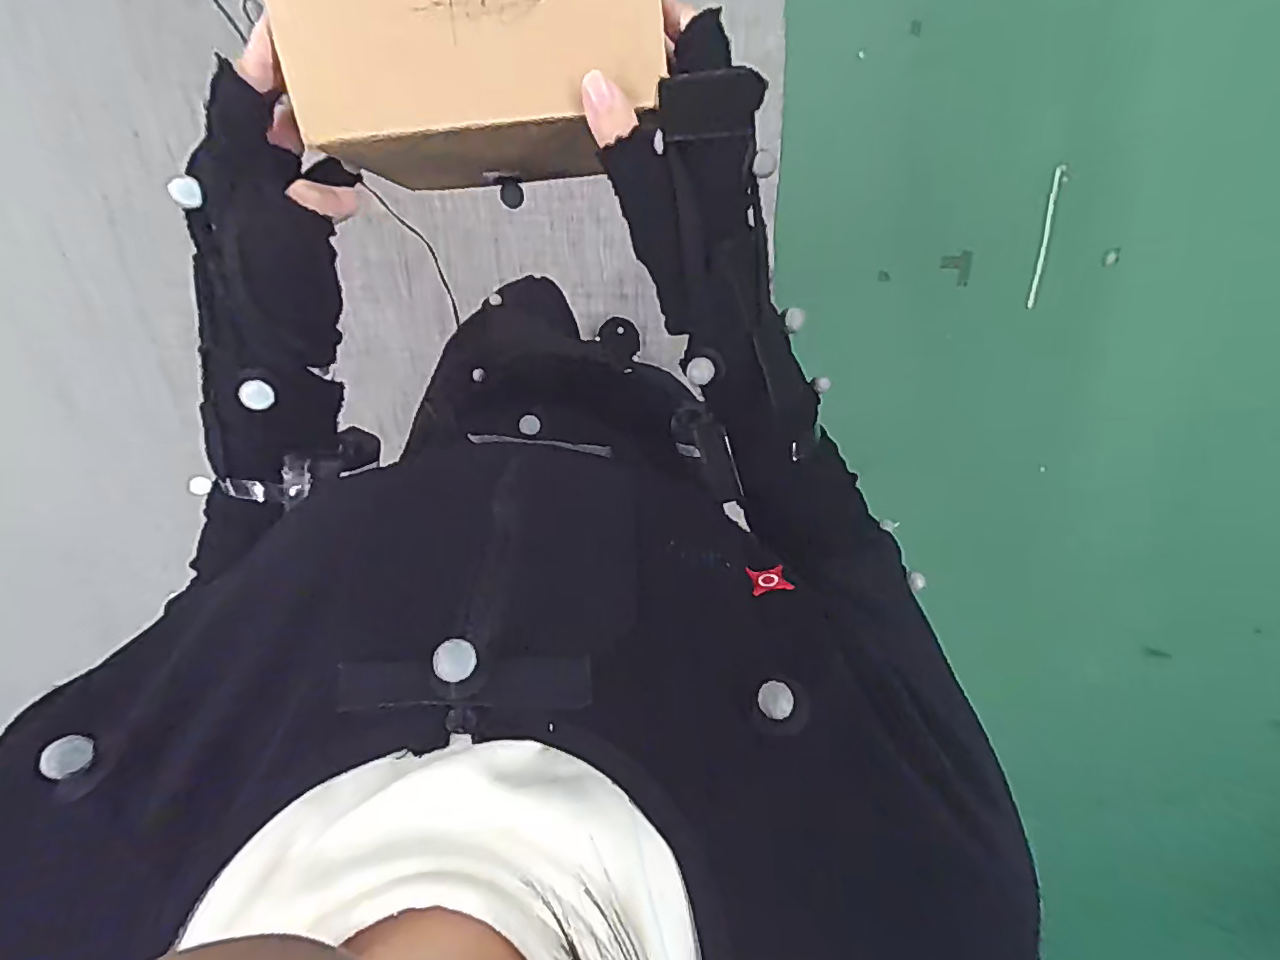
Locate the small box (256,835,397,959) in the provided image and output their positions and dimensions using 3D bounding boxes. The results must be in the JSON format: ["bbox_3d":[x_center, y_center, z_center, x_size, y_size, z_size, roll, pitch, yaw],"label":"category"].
[{"bbox_3d":[-0.581,0.816,1.029,0.168,0.176,0.179,1,110,-3],"label":"small box"}]

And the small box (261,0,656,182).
[{"bbox_3d":[-0.086,-0.276,0.288,0.168,0.176,0.179,-7,112,-1],"label":"small box"}]
